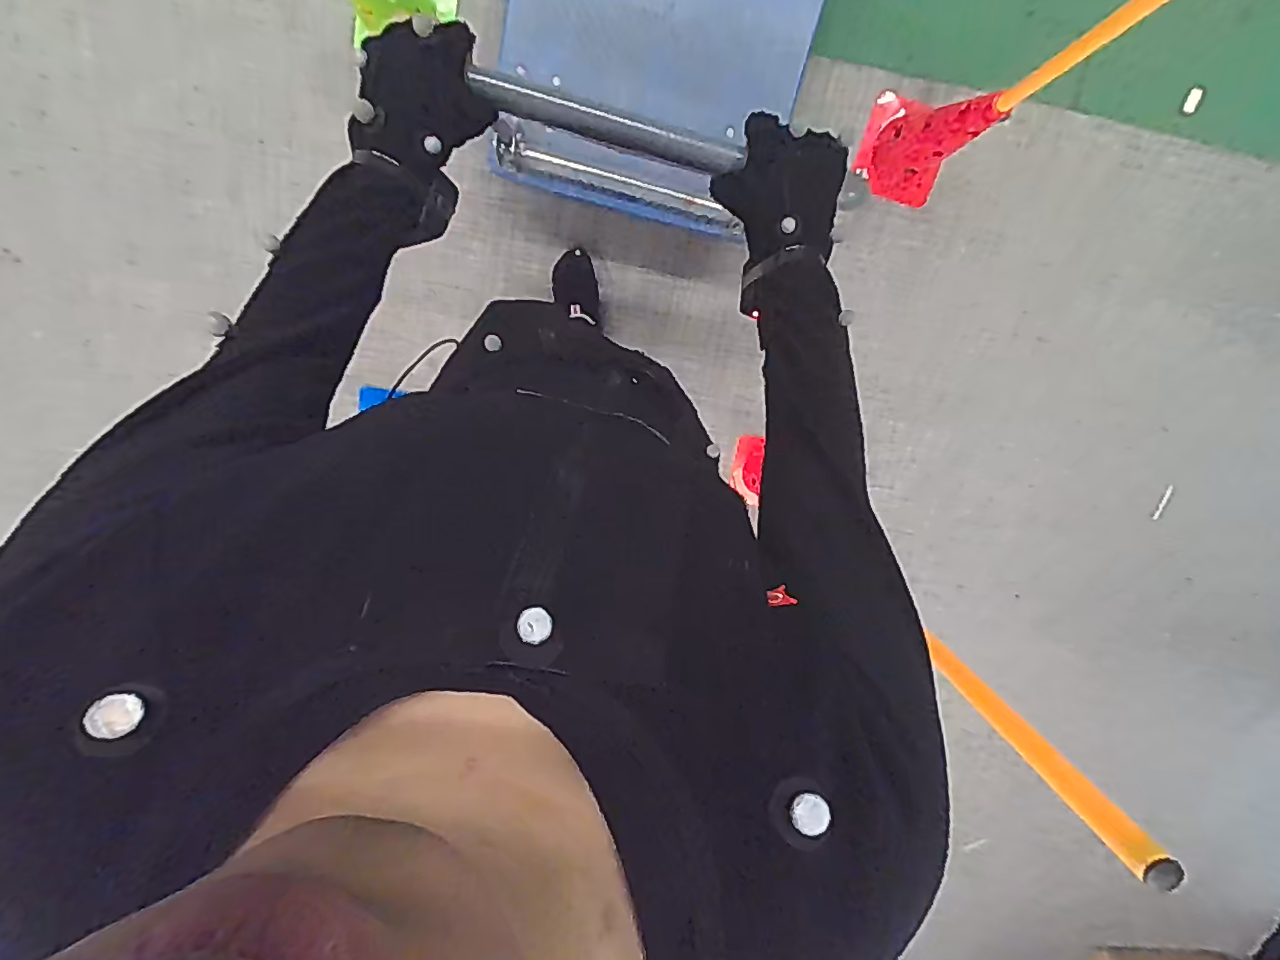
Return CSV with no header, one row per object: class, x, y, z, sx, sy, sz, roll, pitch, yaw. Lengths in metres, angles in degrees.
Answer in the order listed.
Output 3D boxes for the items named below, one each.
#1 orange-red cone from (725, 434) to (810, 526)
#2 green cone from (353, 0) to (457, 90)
orange-red cone,0.353,0.030,1.360,0.199,0.360,0.198,9,108,-3
green cone,-0.493,-0.912,0.988,0.202,0.368,0.200,13,108,-6
